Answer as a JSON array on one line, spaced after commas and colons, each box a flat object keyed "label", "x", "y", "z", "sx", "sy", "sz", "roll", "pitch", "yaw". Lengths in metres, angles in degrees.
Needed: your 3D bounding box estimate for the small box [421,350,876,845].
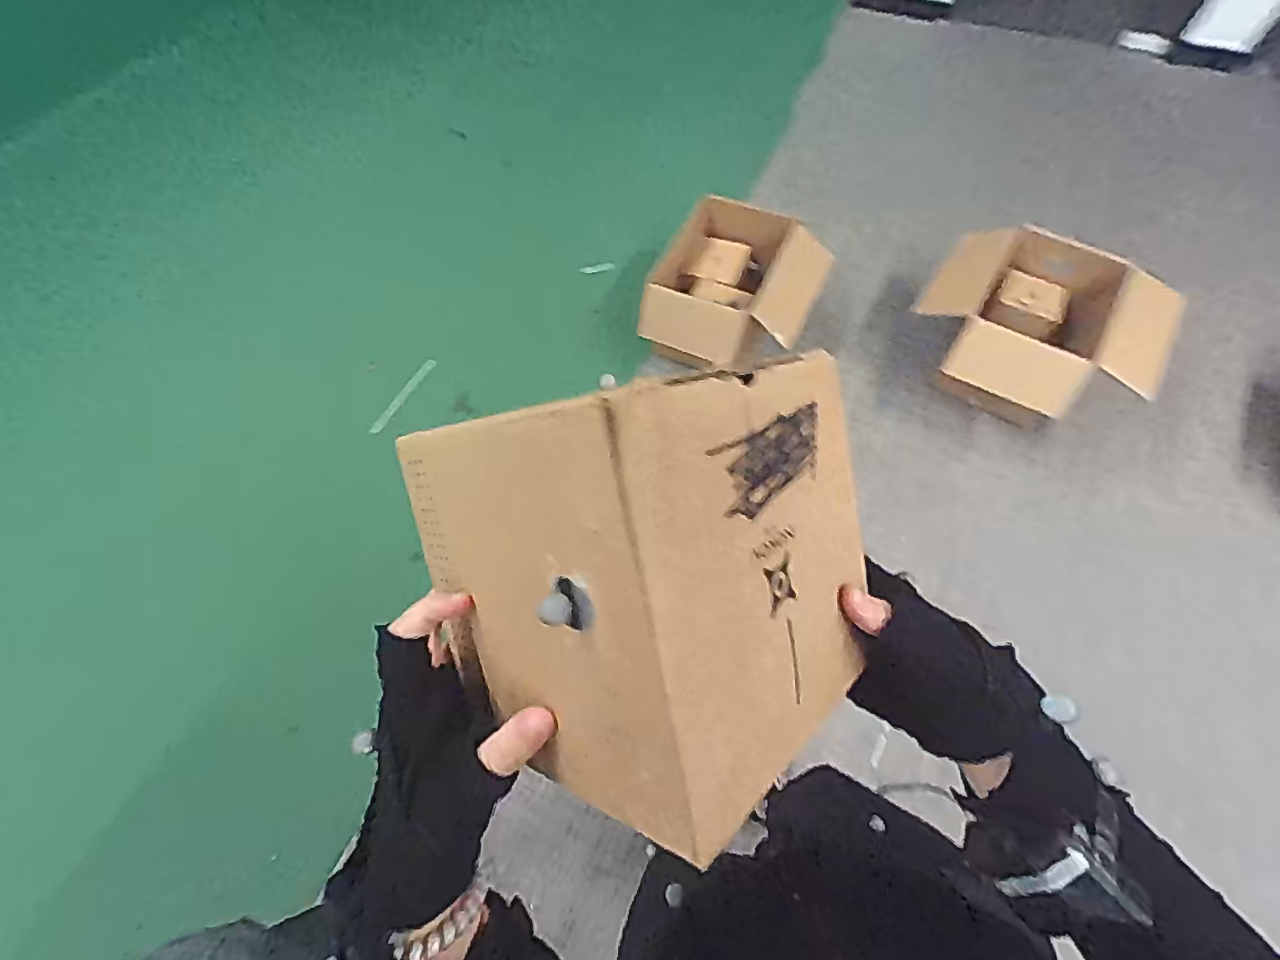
[{"label": "small box", "x": 0.004, "y": 0.037, "z": 0.297, "sx": 0.168, "sy": 0.176, "sz": 0.179, "roll": -19, "pitch": 101, "yaw": -43}]
